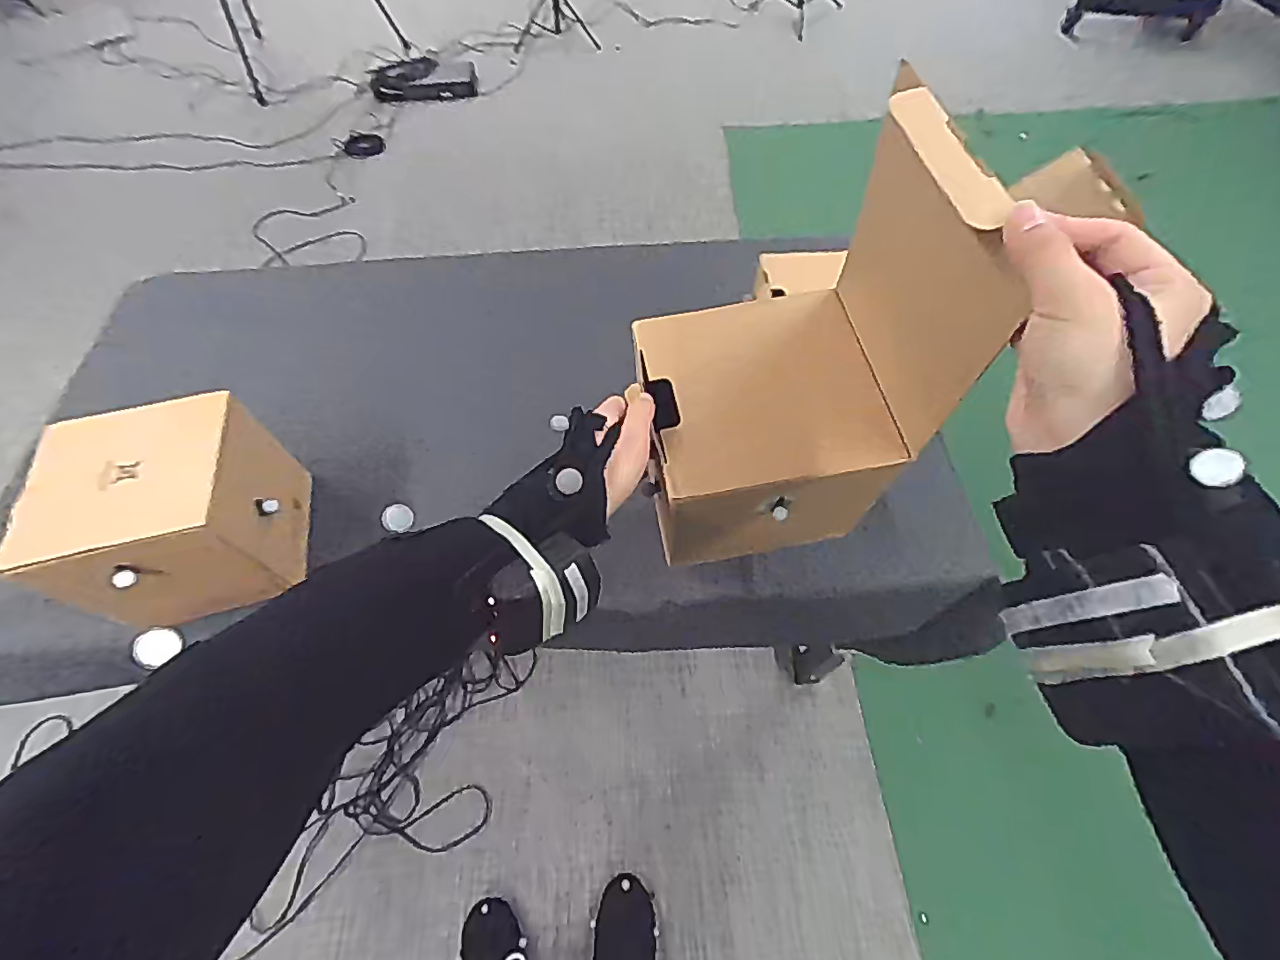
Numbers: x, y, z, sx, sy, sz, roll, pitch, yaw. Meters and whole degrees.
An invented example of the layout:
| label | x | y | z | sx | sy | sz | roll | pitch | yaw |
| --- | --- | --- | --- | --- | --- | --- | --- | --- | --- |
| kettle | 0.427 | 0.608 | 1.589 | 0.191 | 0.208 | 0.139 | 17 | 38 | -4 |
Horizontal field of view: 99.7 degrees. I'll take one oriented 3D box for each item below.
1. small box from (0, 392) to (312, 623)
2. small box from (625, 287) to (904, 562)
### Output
| label | x | y | z | sx | sy | sz | roll | pitch | yaw |
| --- | --- | --- | --- | --- | --- | --- | --- | --- | --- |
| small box | -0.484 | 0.036 | 0.580 | 0.179 | 0.176 | 0.168 | -14 | 59 | -6 |
| small box | 0.090 | -0.037 | 0.477 | 0.179 | 0.176 | 0.168 | -10 | 66 | -3 |
